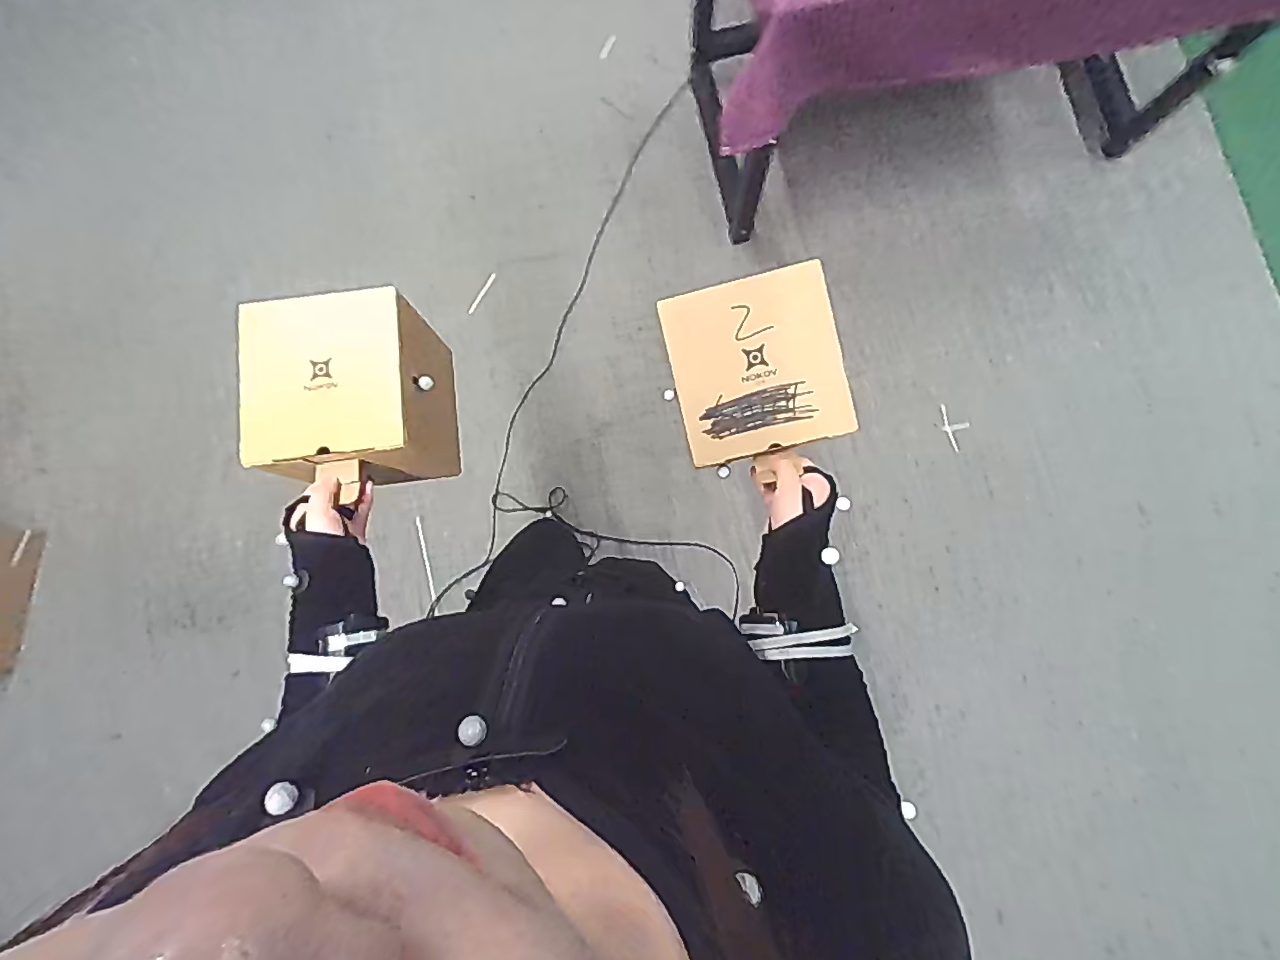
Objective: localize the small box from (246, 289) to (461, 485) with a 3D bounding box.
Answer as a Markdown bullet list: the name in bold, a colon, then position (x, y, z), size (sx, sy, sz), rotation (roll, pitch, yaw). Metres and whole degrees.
- **small box**: position (-0.318, -0.097, 0.630), size (0.168, 0.176, 0.179), rotation (-6, 82, -1)
